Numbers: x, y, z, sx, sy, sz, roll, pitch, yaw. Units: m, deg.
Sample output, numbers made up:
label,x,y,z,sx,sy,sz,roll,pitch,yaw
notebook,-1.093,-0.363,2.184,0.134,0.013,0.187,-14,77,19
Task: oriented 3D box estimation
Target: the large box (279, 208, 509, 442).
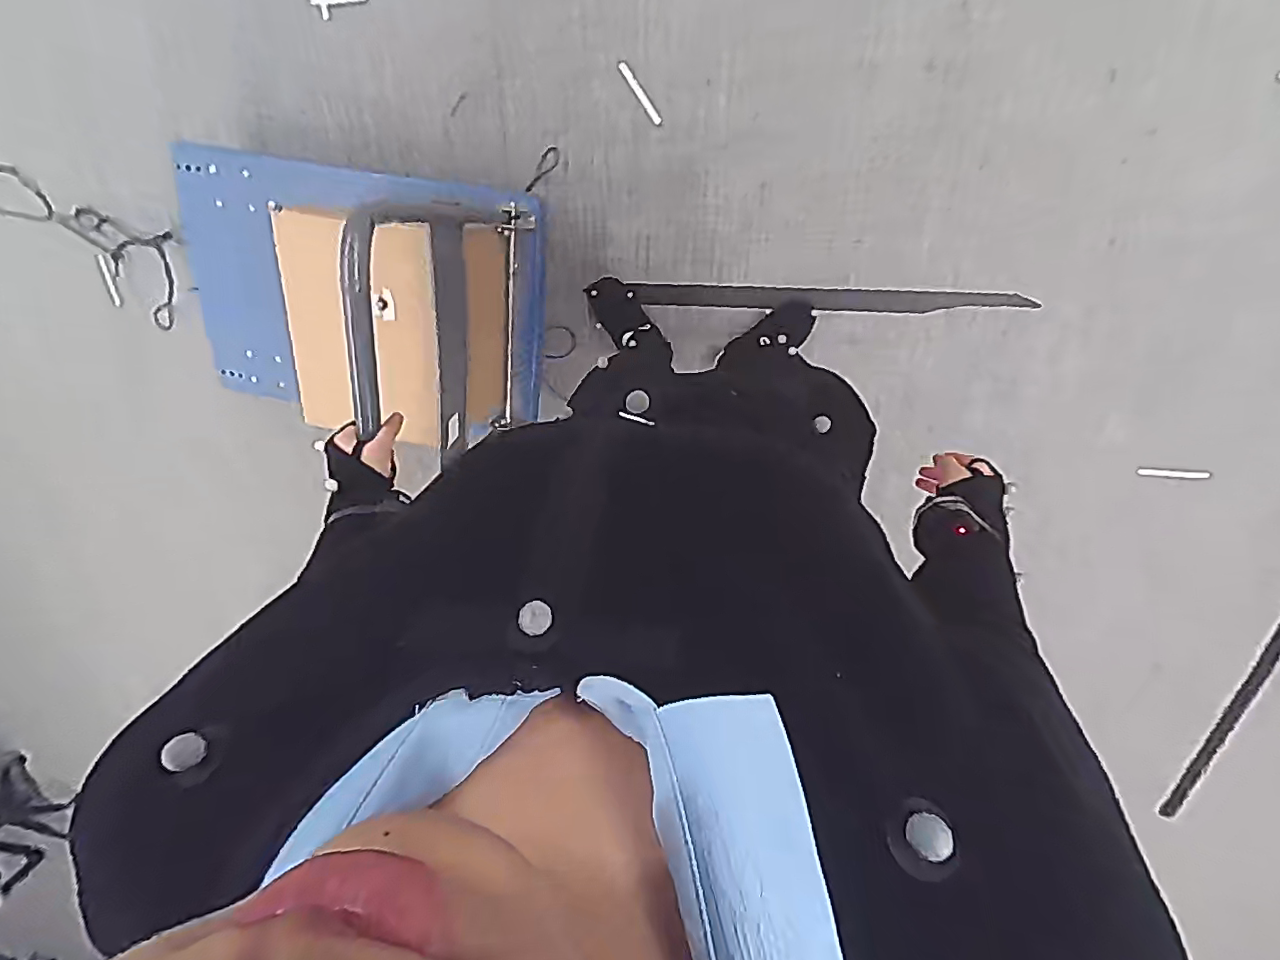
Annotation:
label,x,y,z,sx,sy,sz,roll,pitch,yaw
large box,-0.482,-0.334,1.151,0.320,0.320,0.408,9,115,4
